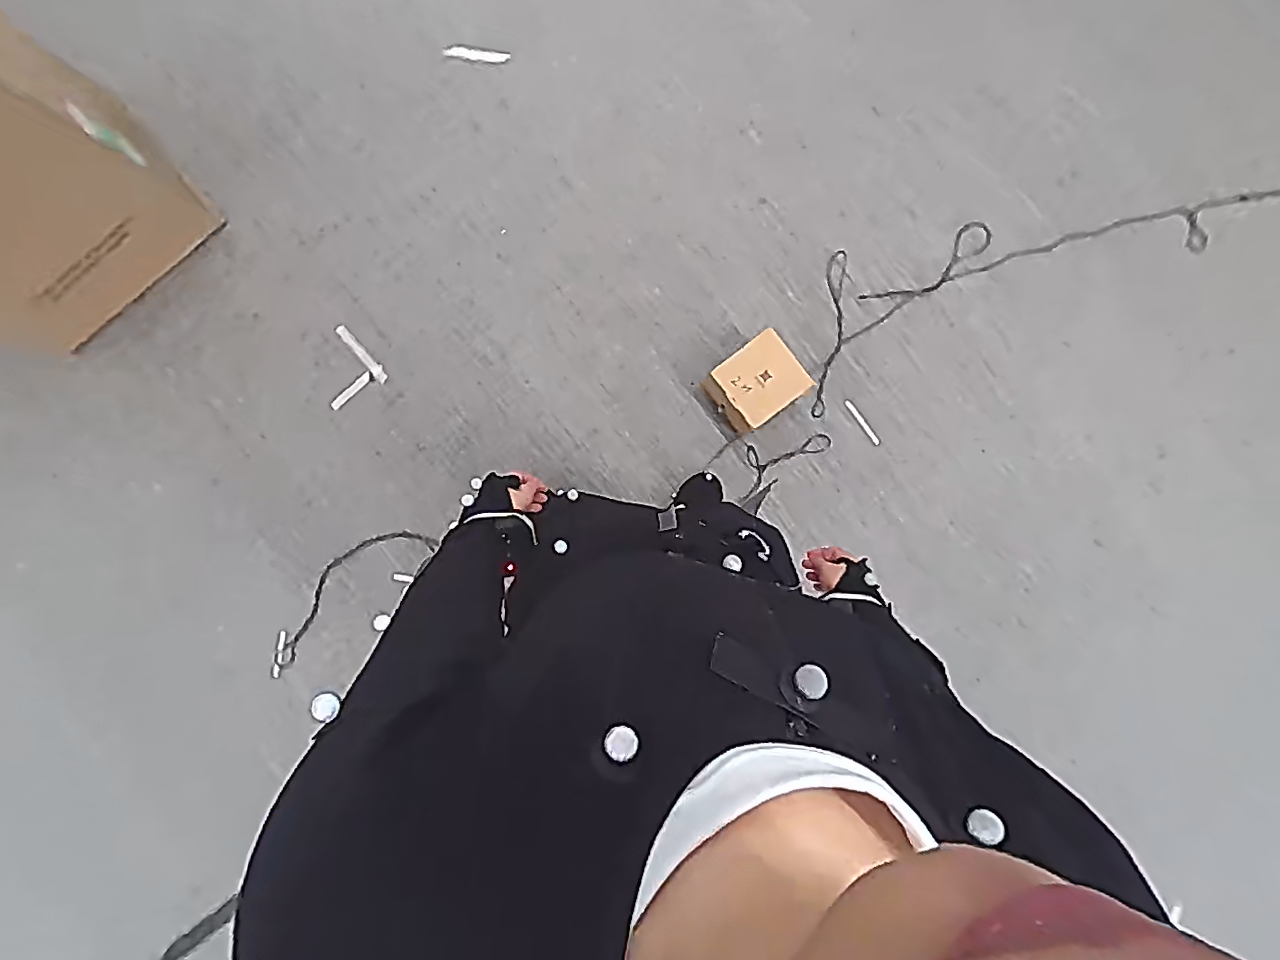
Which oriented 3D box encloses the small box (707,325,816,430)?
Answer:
[{"bbox_3d":[0.277,-0.234,1.280,0.179,0.176,0.168,-37,91,1],"label":"small box"}]
